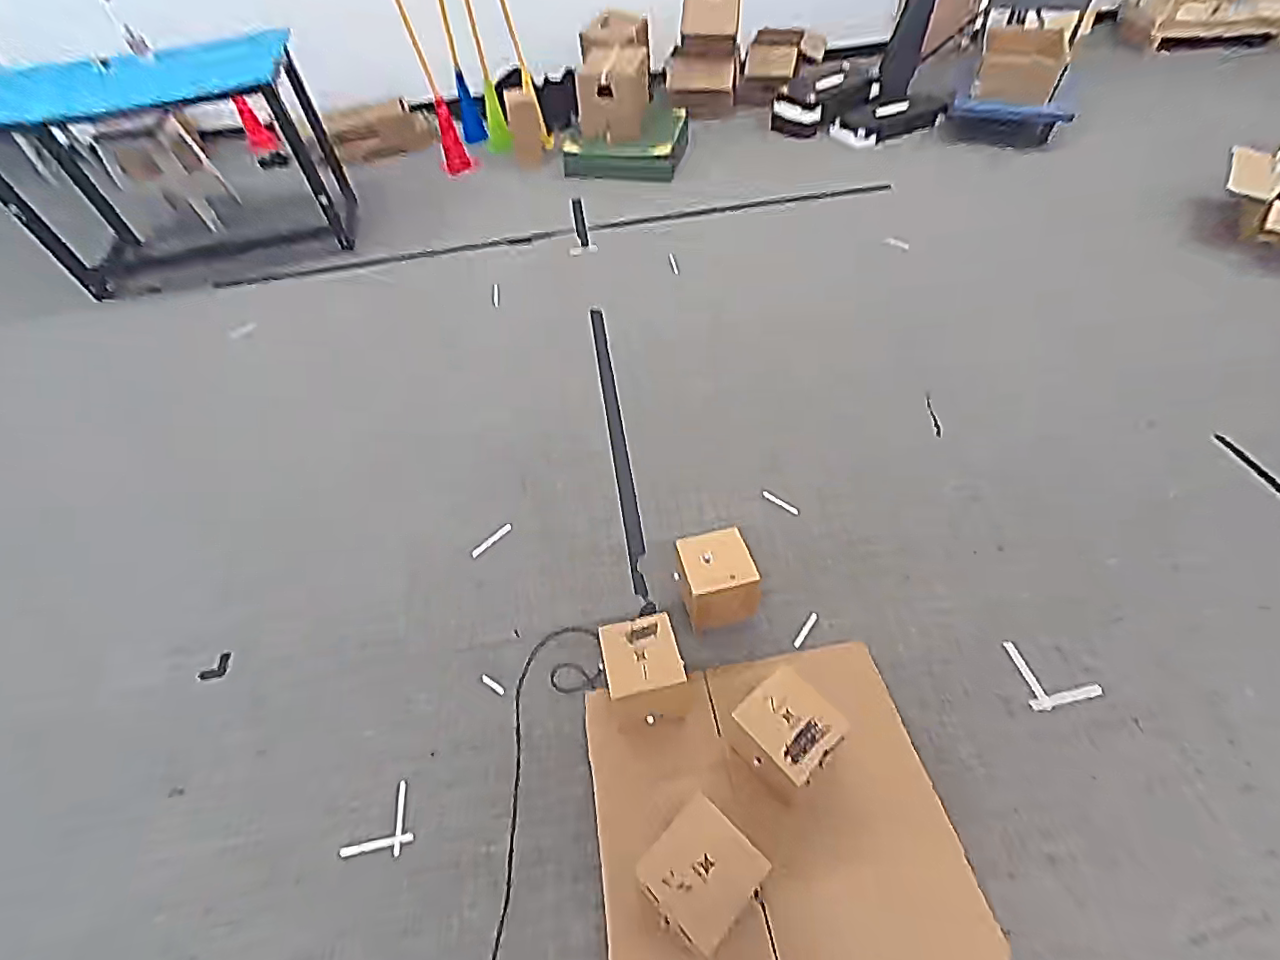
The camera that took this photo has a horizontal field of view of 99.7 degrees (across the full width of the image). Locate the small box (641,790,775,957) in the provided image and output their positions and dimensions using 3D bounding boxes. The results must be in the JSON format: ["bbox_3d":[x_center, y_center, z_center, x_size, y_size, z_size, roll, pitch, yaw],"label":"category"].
[{"bbox_3d":[0.119,0.713,0.982,0.179,0.176,0.168,-37,55,-27],"label":"small box"}]

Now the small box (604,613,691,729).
[{"bbox_3d":[0.015,0.438,1.242,0.168,0.176,0.179,-11,43,-6],"label":"small box"}]
